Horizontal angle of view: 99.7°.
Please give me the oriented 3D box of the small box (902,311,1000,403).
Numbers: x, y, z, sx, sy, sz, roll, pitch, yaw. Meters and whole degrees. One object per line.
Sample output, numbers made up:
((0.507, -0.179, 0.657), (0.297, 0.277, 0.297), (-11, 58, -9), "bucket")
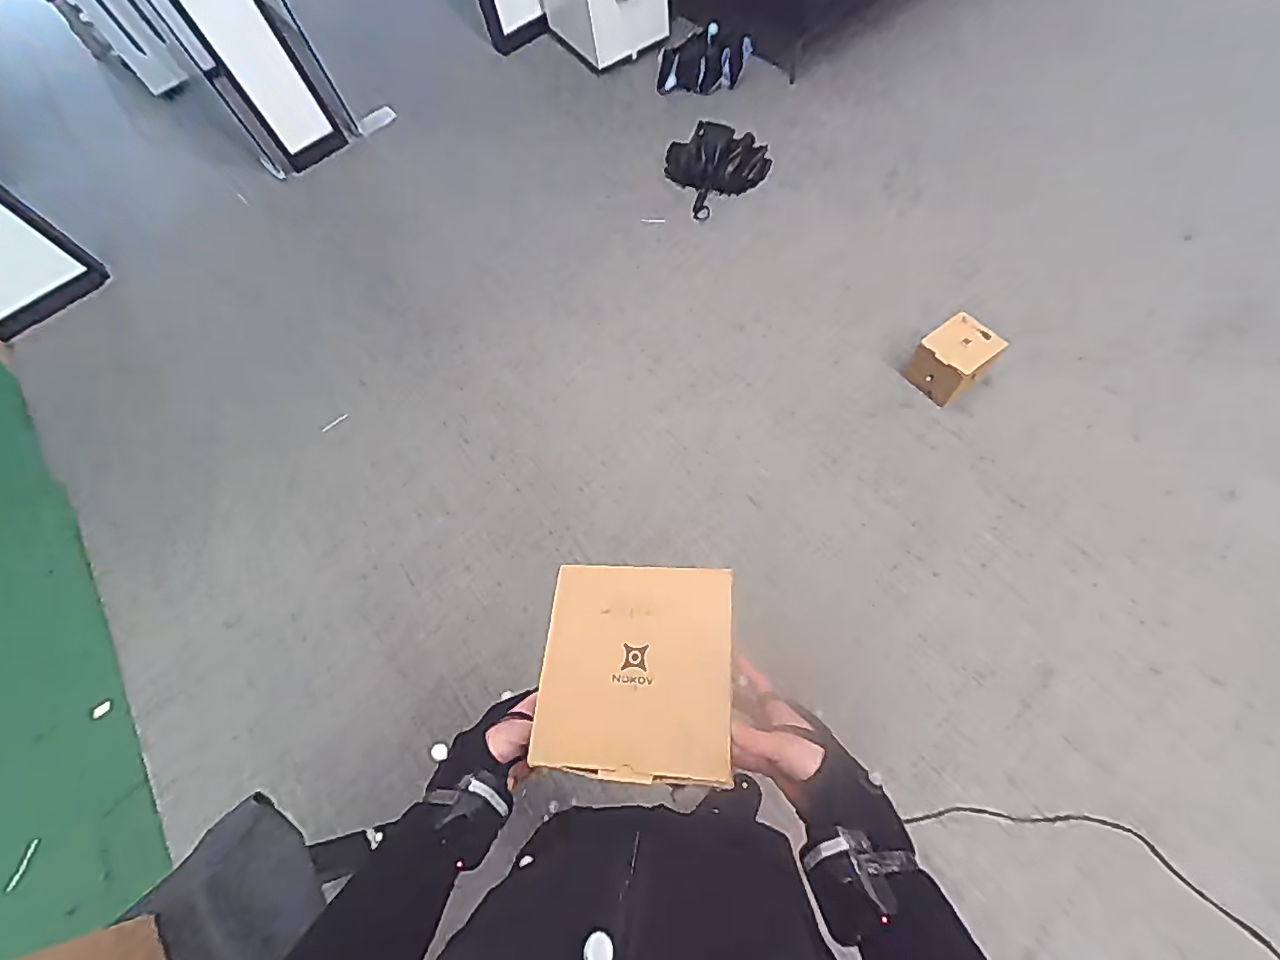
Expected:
((0.924, -0.365, 1.632), (0.179, 0.176, 0.168), (-35, 66, -9), "small box")
